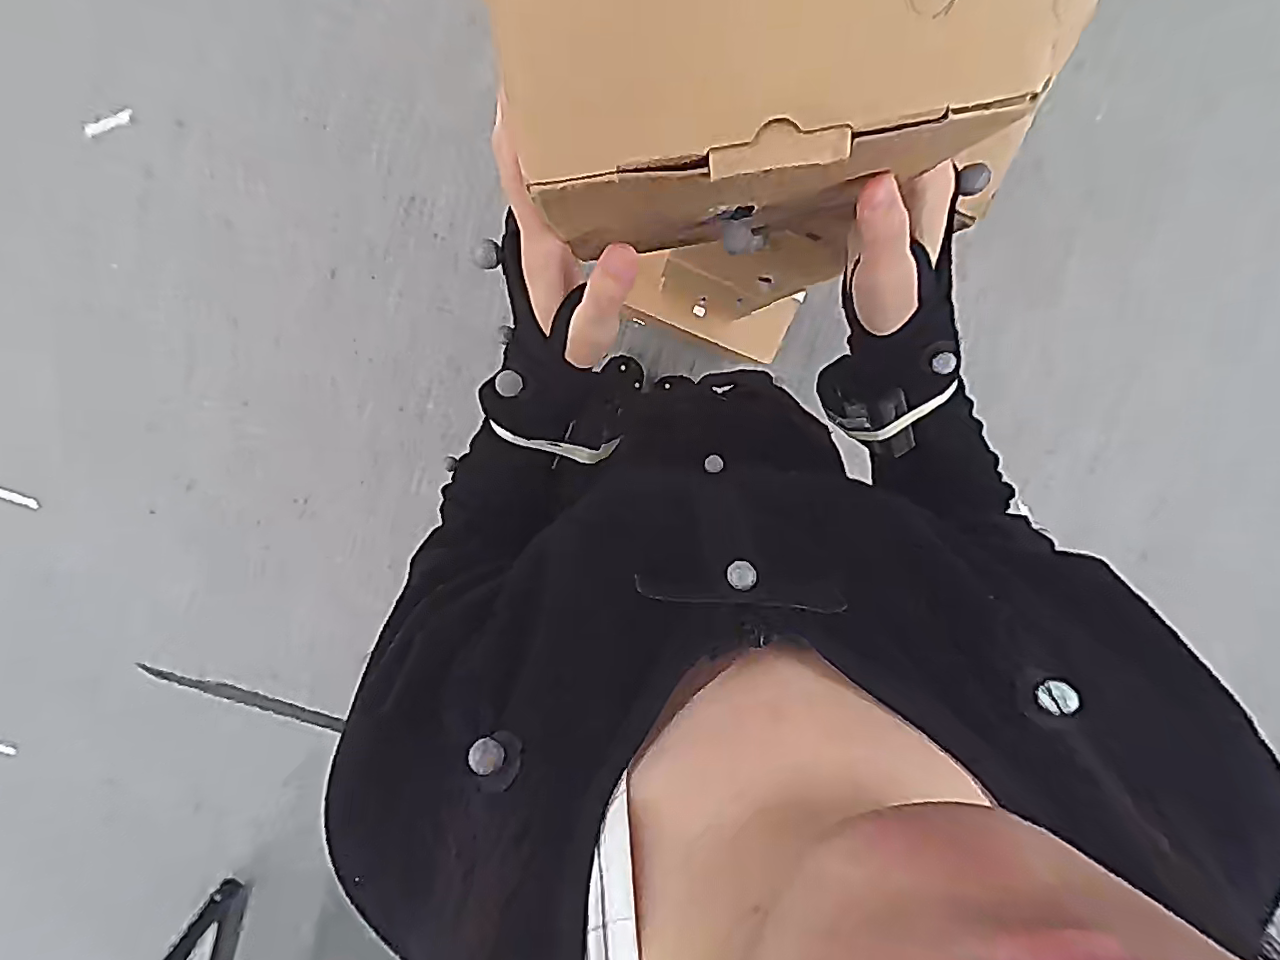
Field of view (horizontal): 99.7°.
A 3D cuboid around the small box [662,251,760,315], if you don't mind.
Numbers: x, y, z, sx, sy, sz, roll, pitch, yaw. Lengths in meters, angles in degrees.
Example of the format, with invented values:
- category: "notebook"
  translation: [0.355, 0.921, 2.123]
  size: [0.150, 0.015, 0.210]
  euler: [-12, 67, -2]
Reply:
- category: "small box"
  translation: [0.149, -0.422, 1.029]
  size: [0.179, 0.176, 0.168]
  euler: [19, 102, -6]

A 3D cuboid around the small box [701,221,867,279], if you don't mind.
- category: "small box"
  translation: [0.158, -0.320, 0.549]
  size: [0.179, 0.176, 0.168]
  euler: [24, 102, -6]

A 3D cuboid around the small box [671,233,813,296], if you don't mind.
- category: "small box"
  translation: [0.155, -0.354, 0.707]
  size: [0.179, 0.176, 0.168]
  euler: [23, 101, -6]

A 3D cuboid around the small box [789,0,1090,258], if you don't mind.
- category: "small box"
  translation: [0.164, -0.285, 0.389]
  size: [0.168, 0.176, 0.179]
  euler: [23, 101, -6]

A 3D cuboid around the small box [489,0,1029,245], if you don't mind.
- category: "small box"
  translation: [0.031, -0.209, 0.231]
  size: [0.168, 0.176, 0.179]
  euler: [-9, 106, 3]
